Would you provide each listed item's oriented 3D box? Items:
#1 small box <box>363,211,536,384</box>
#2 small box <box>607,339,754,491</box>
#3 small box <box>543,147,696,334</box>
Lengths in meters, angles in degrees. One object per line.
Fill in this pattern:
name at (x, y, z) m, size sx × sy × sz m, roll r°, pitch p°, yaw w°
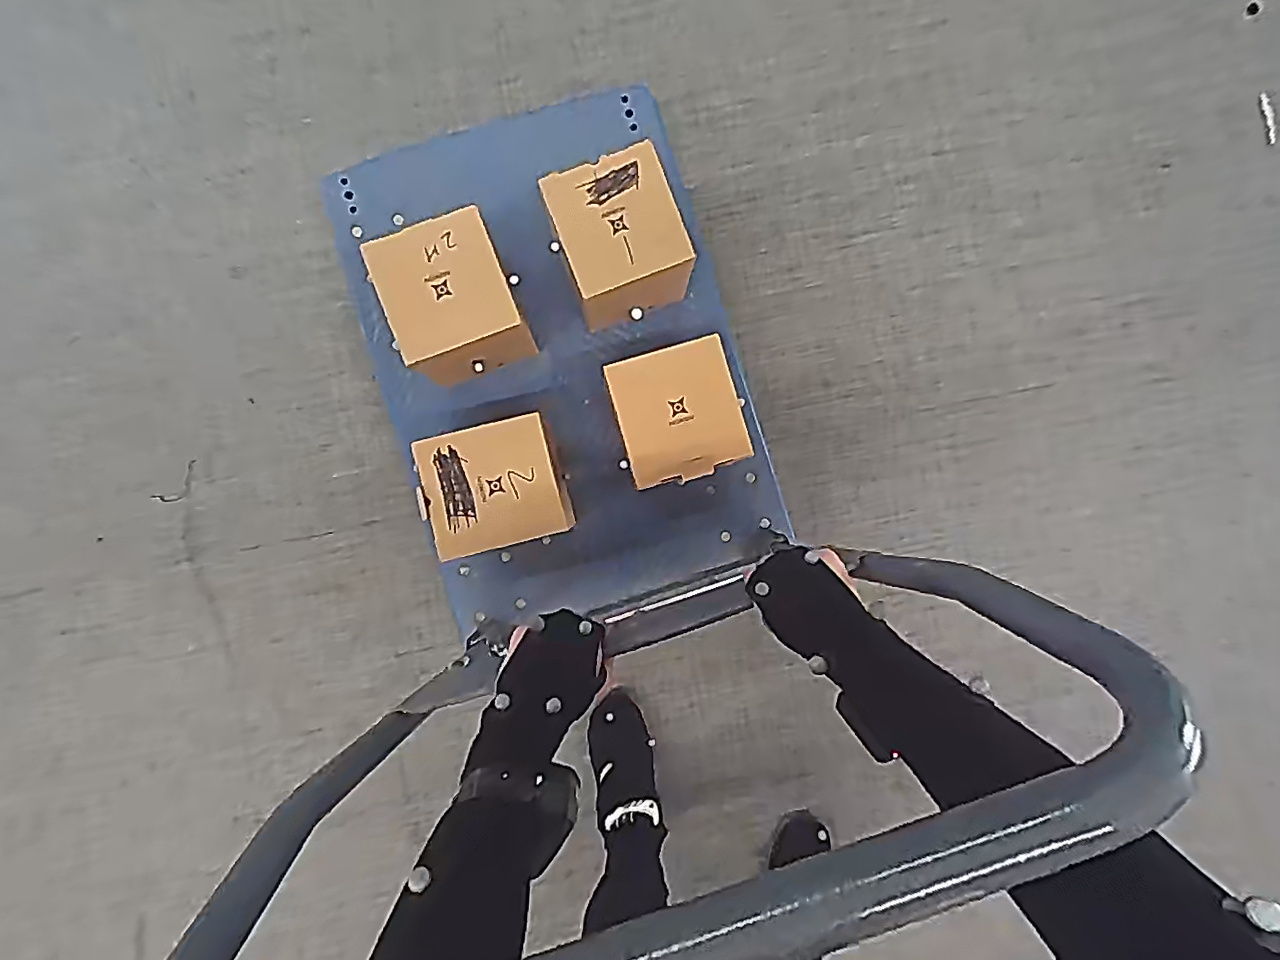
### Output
small box at (-0.265, -0.252, 0.798) m, size 0.168 × 0.176 × 0.179 m, roll -21°, pitch 89°, yaw -3°
small box at (0.050, -0.085, 0.807) m, size 0.168 × 0.176 × 0.179 m, roll -16°, pitch 90°, yaw -2°
small box at (-0.031, -0.344, 0.808) m, size 0.168 × 0.176 × 0.179 m, roll -21°, pitch 90°, yaw -1°
